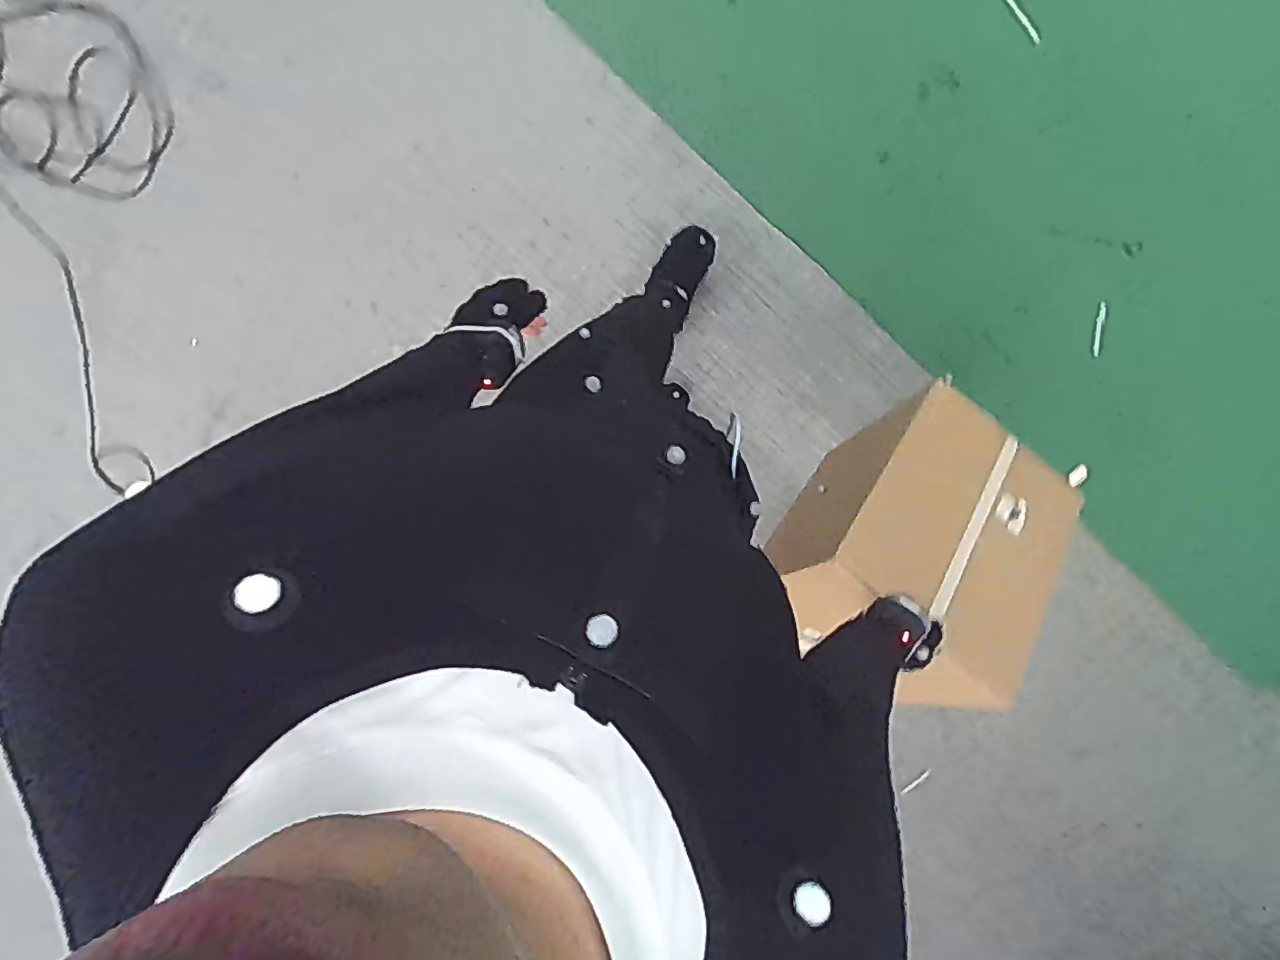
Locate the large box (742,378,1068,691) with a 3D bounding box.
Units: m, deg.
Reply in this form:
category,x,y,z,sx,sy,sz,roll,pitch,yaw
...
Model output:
category,x,y,z,sx,sy,sz,roll,pitch,yaw
large box,0.451,0.110,0.958,0.320,0.320,0.408,41,64,1
